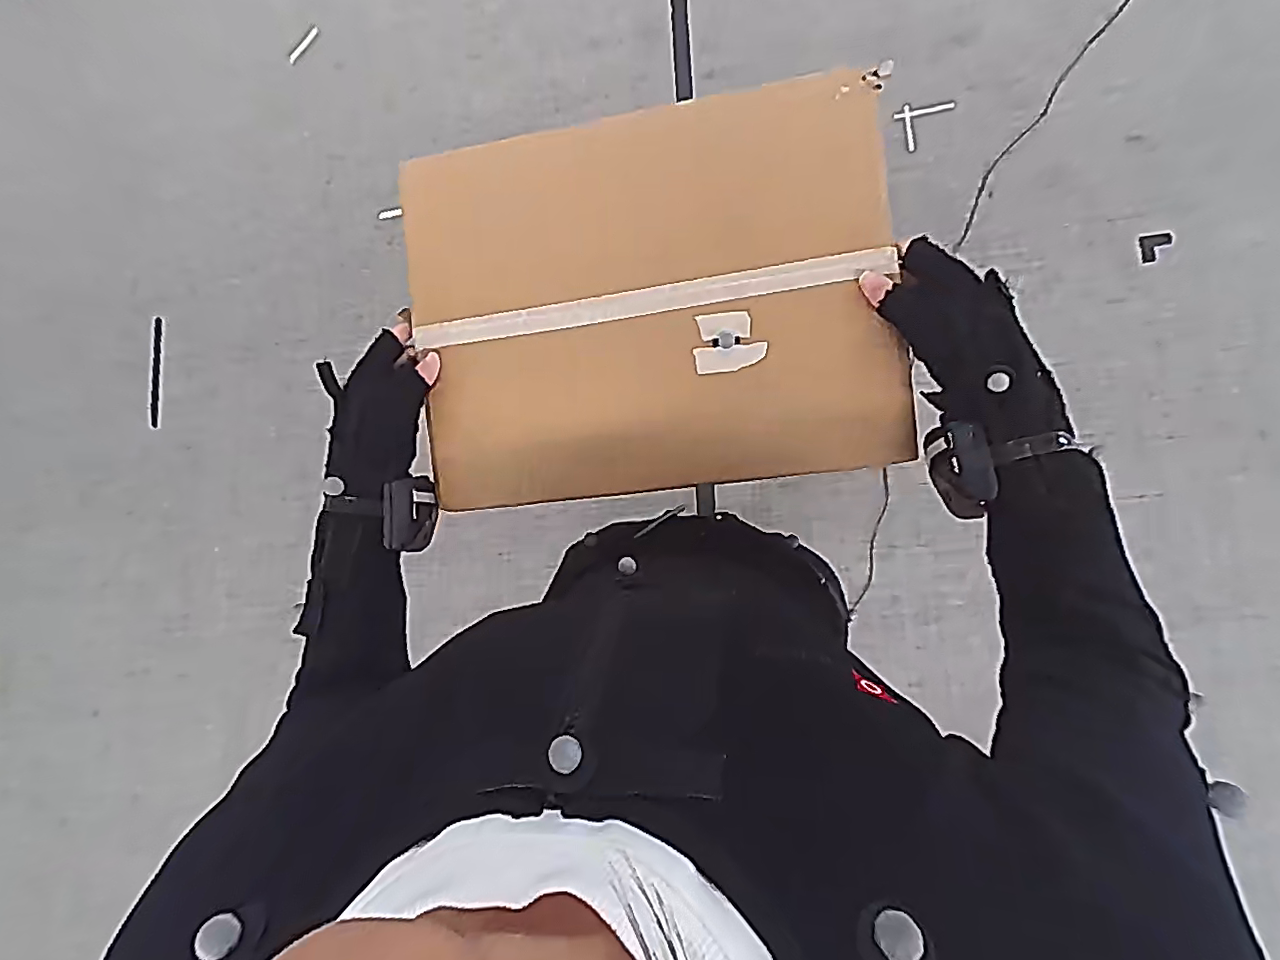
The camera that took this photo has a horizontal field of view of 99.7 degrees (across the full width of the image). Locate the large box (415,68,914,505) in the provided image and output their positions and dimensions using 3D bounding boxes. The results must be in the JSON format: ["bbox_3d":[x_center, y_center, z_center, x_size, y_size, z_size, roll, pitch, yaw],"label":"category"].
[{"bbox_3d":[0.027,-0.158,0.610,0.408,0.320,0.320,-7,91,8],"label":"large box"}]
